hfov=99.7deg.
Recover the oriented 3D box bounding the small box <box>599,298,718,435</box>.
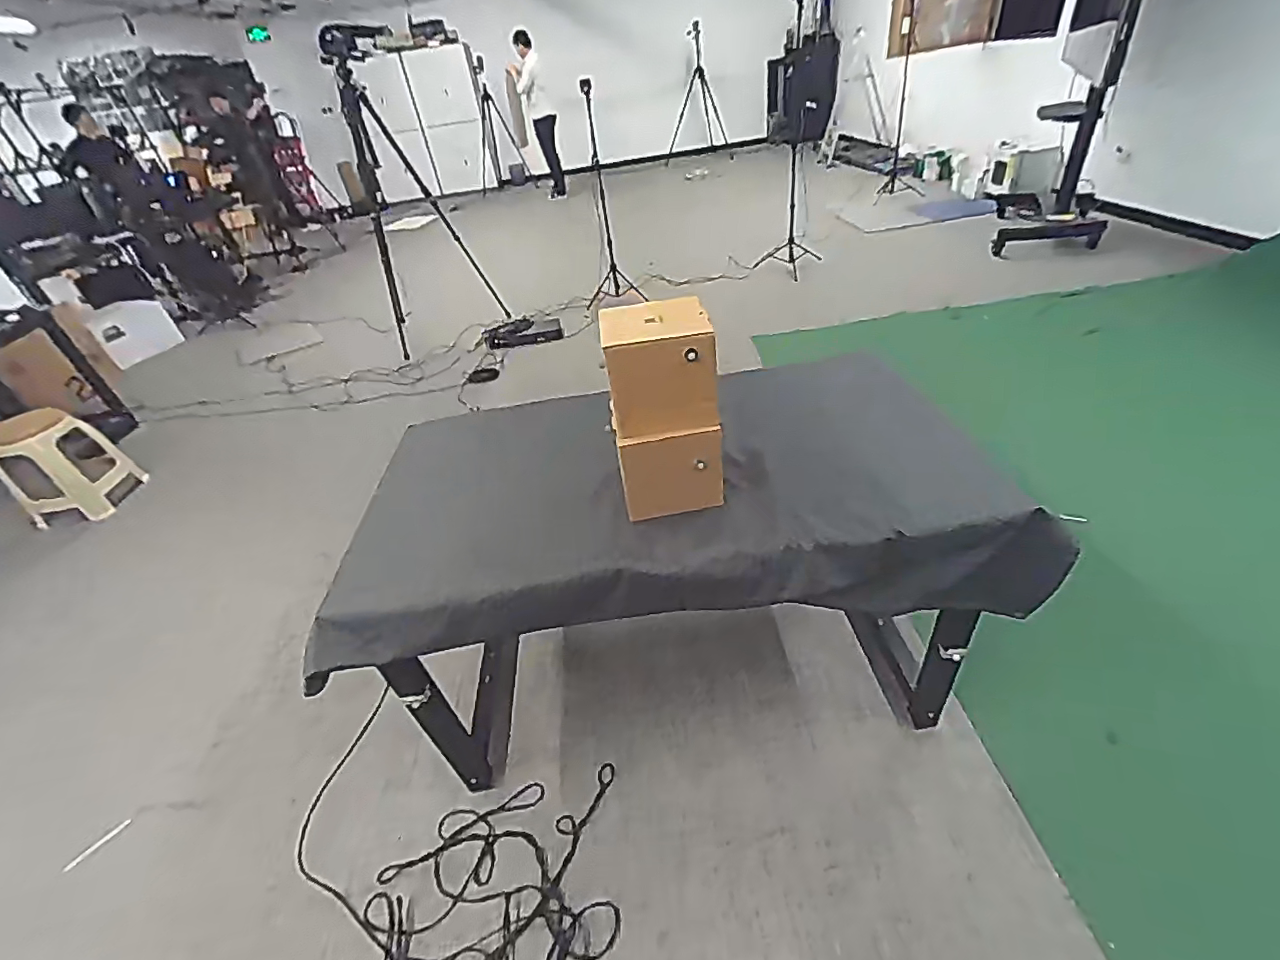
[{"bbox_3d":[0.030,-0.191,0.916,0.179,0.176,0.168,-8,37,0],"label":"small box"}]
